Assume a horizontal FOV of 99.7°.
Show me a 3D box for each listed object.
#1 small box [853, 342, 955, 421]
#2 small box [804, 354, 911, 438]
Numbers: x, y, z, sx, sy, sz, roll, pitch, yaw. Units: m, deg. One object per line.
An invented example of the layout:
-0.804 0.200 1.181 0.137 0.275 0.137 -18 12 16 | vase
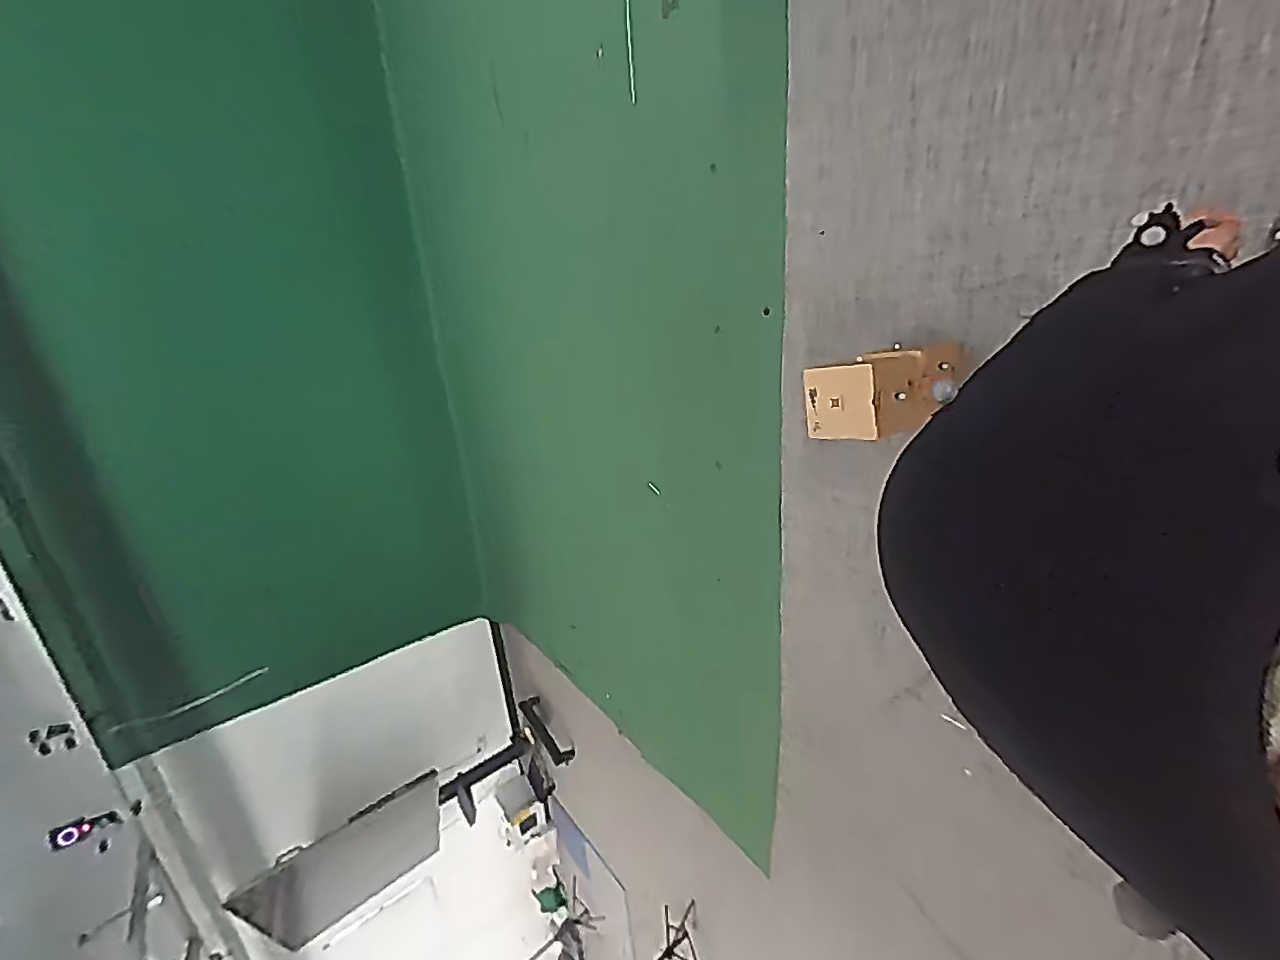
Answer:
0.648 -0.242 1.322 0.179 0.176 0.168 11 112 53 | small box
0.507 -0.195 1.249 0.179 0.176 0.168 8 110 52 | small box
